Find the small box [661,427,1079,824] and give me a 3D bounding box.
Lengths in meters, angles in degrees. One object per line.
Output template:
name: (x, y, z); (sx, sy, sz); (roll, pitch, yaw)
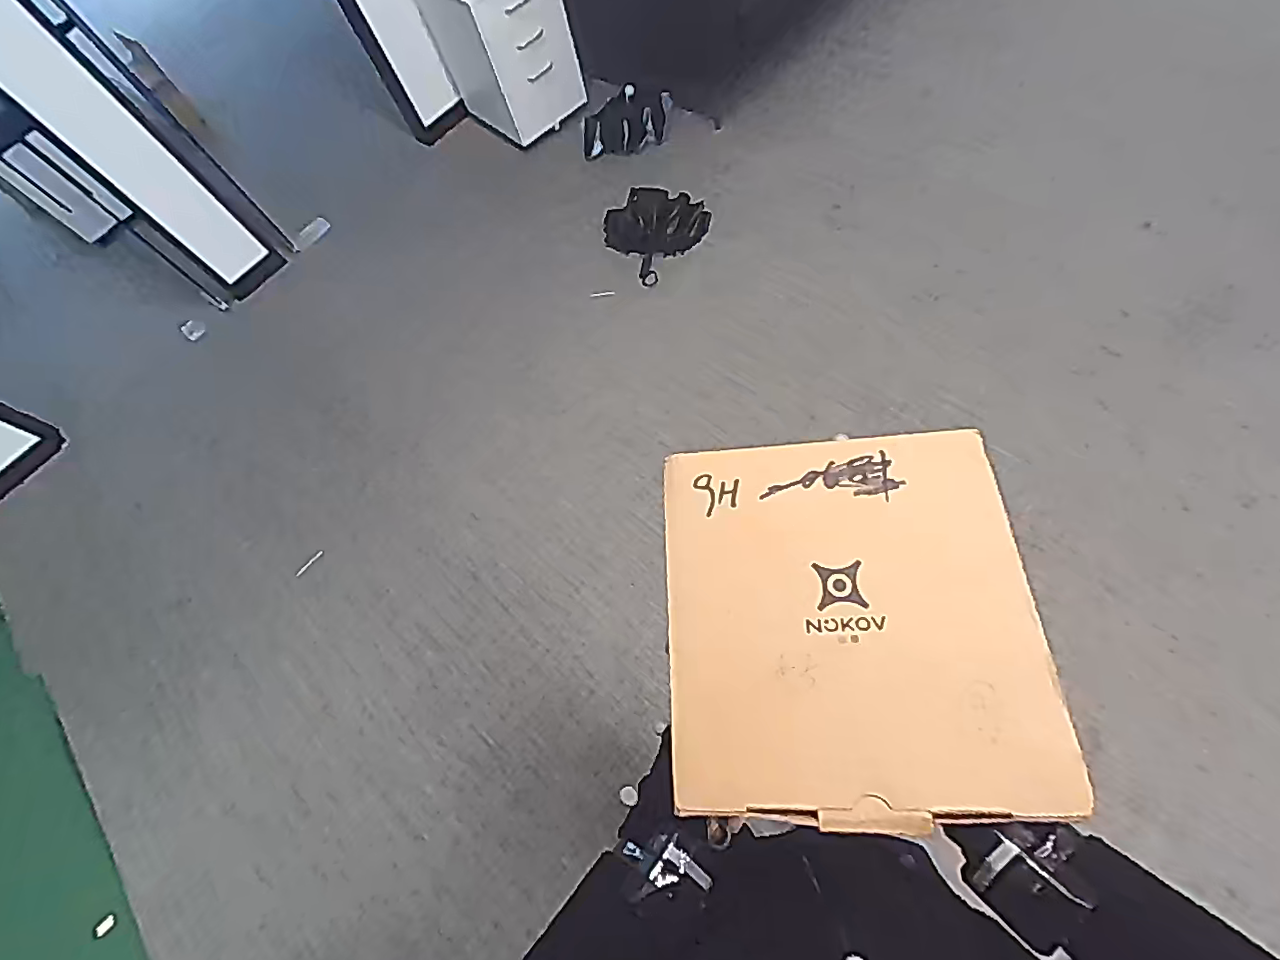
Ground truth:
small box: (0.107, 0.089, 0.328); (0.168, 0.176, 0.179); (-5, 67, 9)
